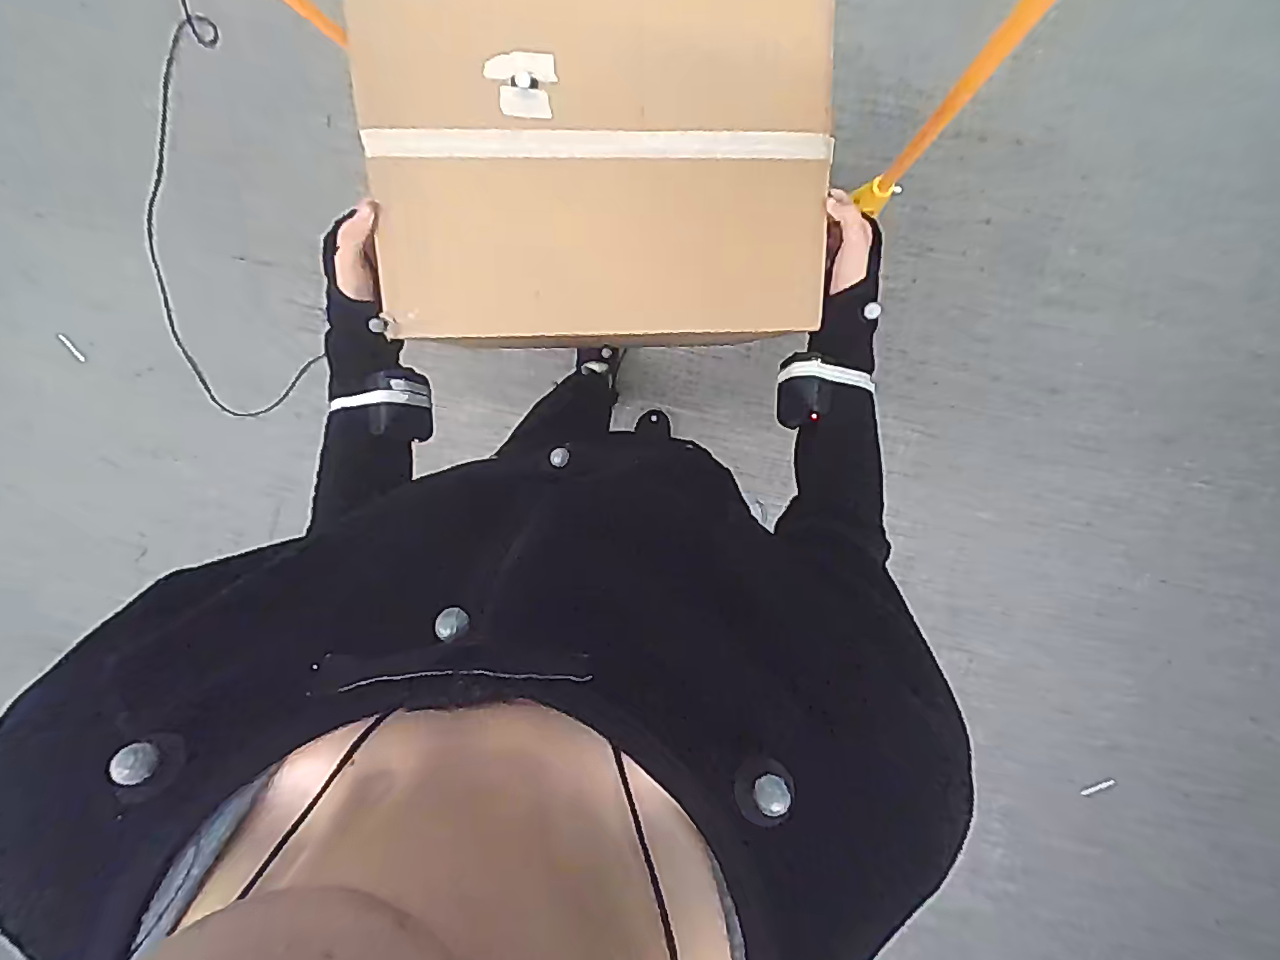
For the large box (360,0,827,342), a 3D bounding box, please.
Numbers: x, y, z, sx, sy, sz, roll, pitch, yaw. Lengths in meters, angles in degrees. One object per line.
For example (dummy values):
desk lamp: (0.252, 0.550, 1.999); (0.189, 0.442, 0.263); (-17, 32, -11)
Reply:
large box: (-0.040, -0.327, 0.628); (0.408, 0.320, 0.320); (-2, 102, -4)
